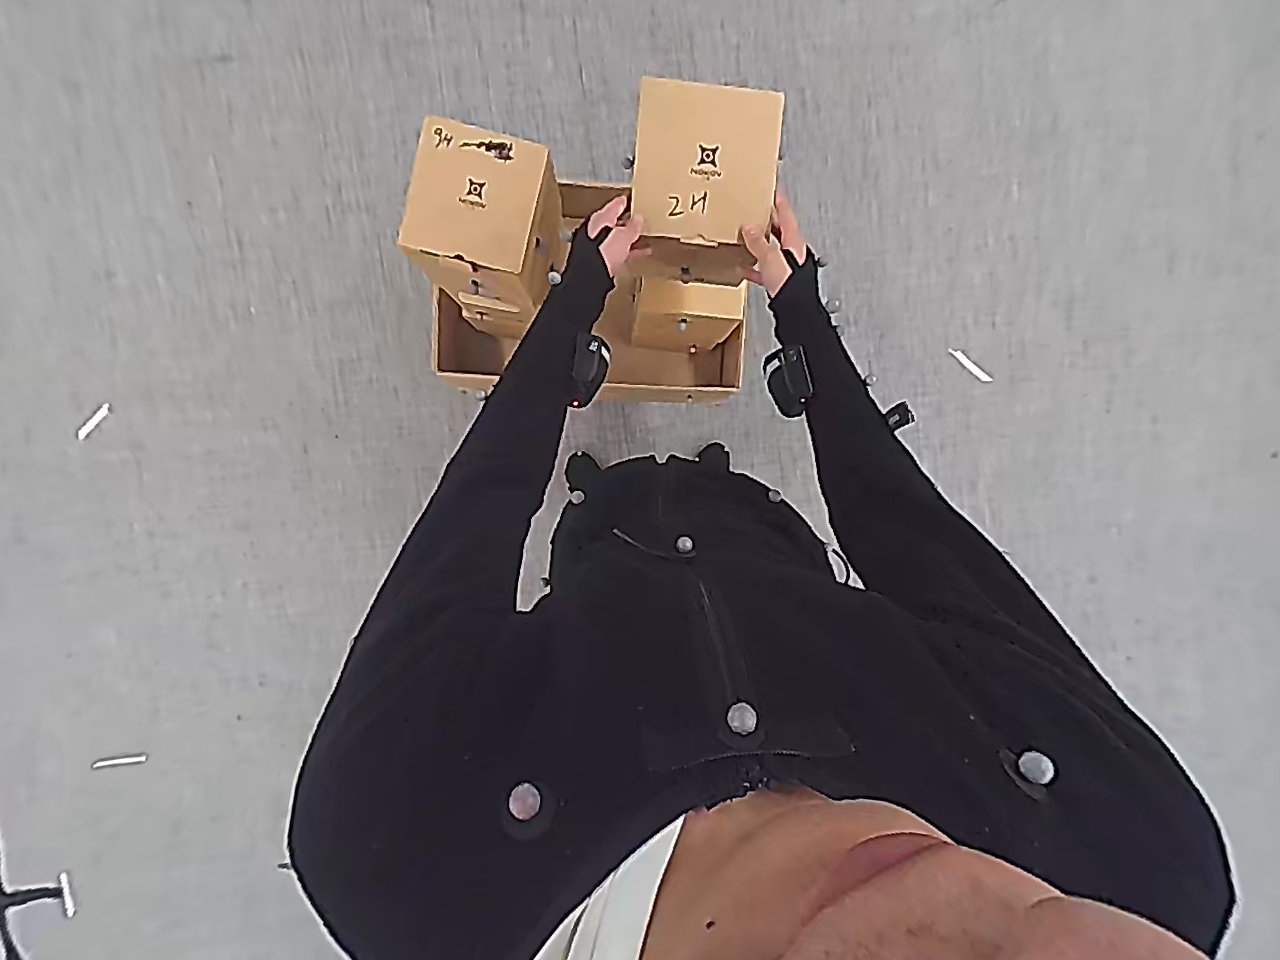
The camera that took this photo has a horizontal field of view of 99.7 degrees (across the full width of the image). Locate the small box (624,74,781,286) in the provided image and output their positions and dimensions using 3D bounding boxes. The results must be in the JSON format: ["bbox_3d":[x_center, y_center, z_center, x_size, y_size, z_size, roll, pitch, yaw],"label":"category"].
[{"bbox_3d":[0.069,-0.369,0.696,0.168,0.176,0.179,5,95,-2],"label":"small box"}]

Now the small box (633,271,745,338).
[{"bbox_3d":[0.083,-0.356,0.962,0.179,0.176,0.168,5,92,-2],"label":"small box"}]

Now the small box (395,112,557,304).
[{"bbox_3d":[-0.223,-0.374,0.780,0.168,0.176,0.179,14,92,-4],"label":"small box"}]

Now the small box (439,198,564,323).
[{"bbox_3d":[-0.232,-0.388,0.945,0.168,0.176,0.179,10,91,-3],"label":"small box"}]
